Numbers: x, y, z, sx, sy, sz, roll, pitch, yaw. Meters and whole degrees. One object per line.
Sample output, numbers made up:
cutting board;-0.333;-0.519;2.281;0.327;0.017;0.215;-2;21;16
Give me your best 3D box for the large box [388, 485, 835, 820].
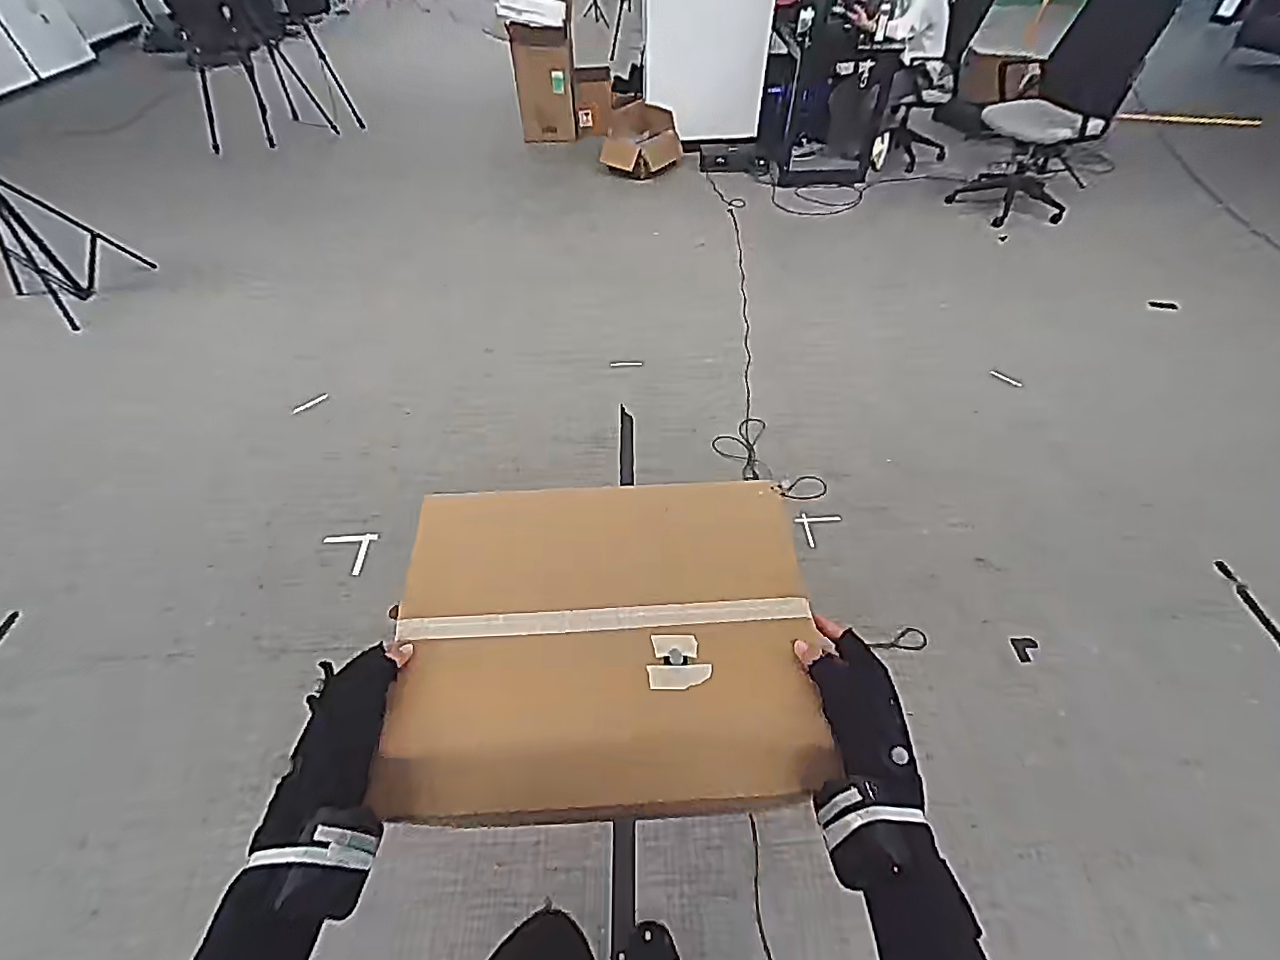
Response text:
large box;-0.033;0.225;0.677;0.408;0.320;0.320;-2;57;-2
